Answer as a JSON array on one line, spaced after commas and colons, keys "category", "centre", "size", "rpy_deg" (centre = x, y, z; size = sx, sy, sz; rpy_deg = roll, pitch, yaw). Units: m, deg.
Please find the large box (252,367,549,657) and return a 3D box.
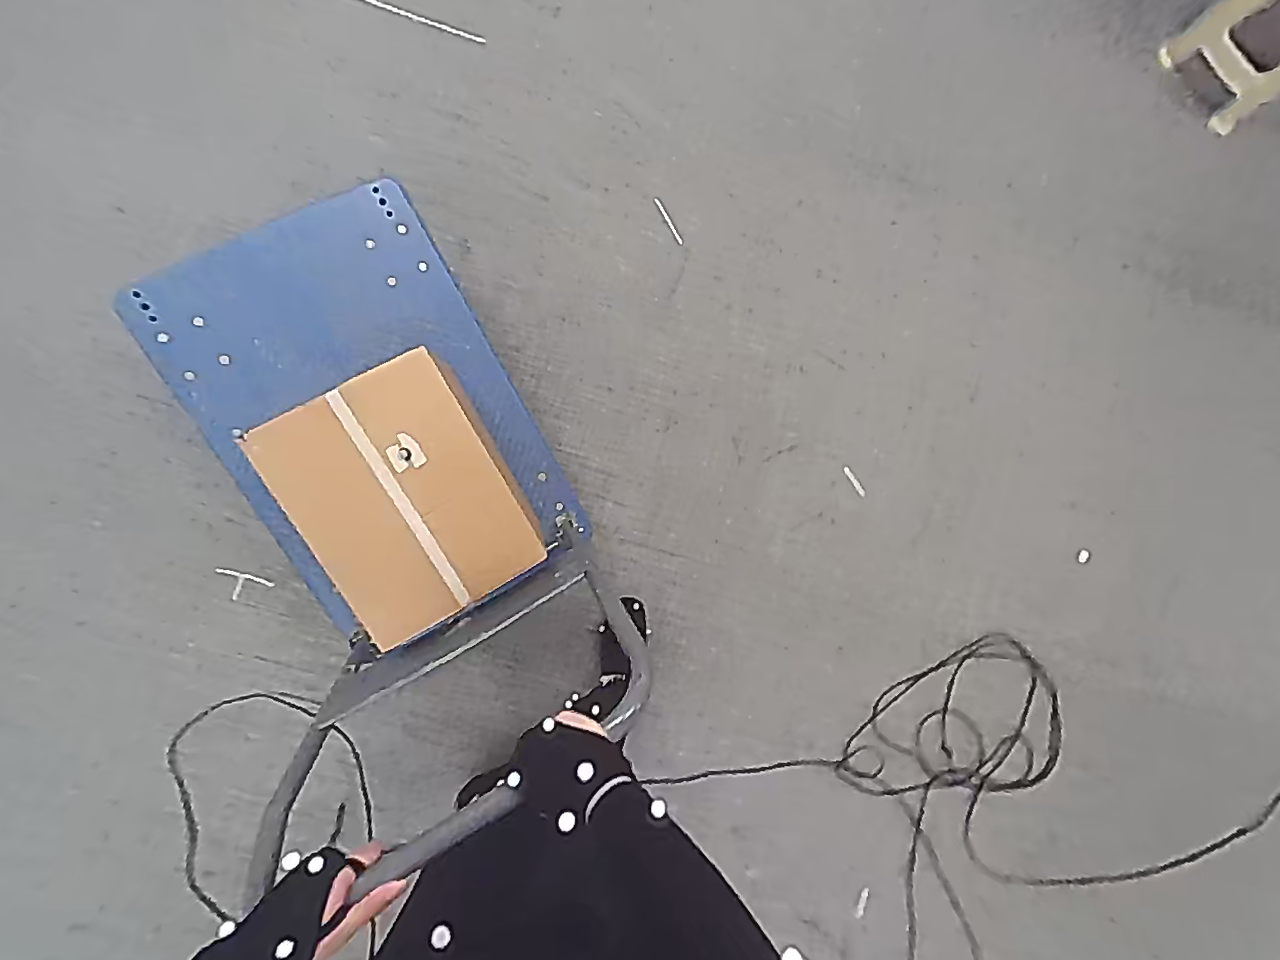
[{"category": "large box", "centre": [-0.410, 0.044, 1.039], "size": [0.320, 0.320, 0.408], "rpy_deg": [-30, 101, -9]}]
